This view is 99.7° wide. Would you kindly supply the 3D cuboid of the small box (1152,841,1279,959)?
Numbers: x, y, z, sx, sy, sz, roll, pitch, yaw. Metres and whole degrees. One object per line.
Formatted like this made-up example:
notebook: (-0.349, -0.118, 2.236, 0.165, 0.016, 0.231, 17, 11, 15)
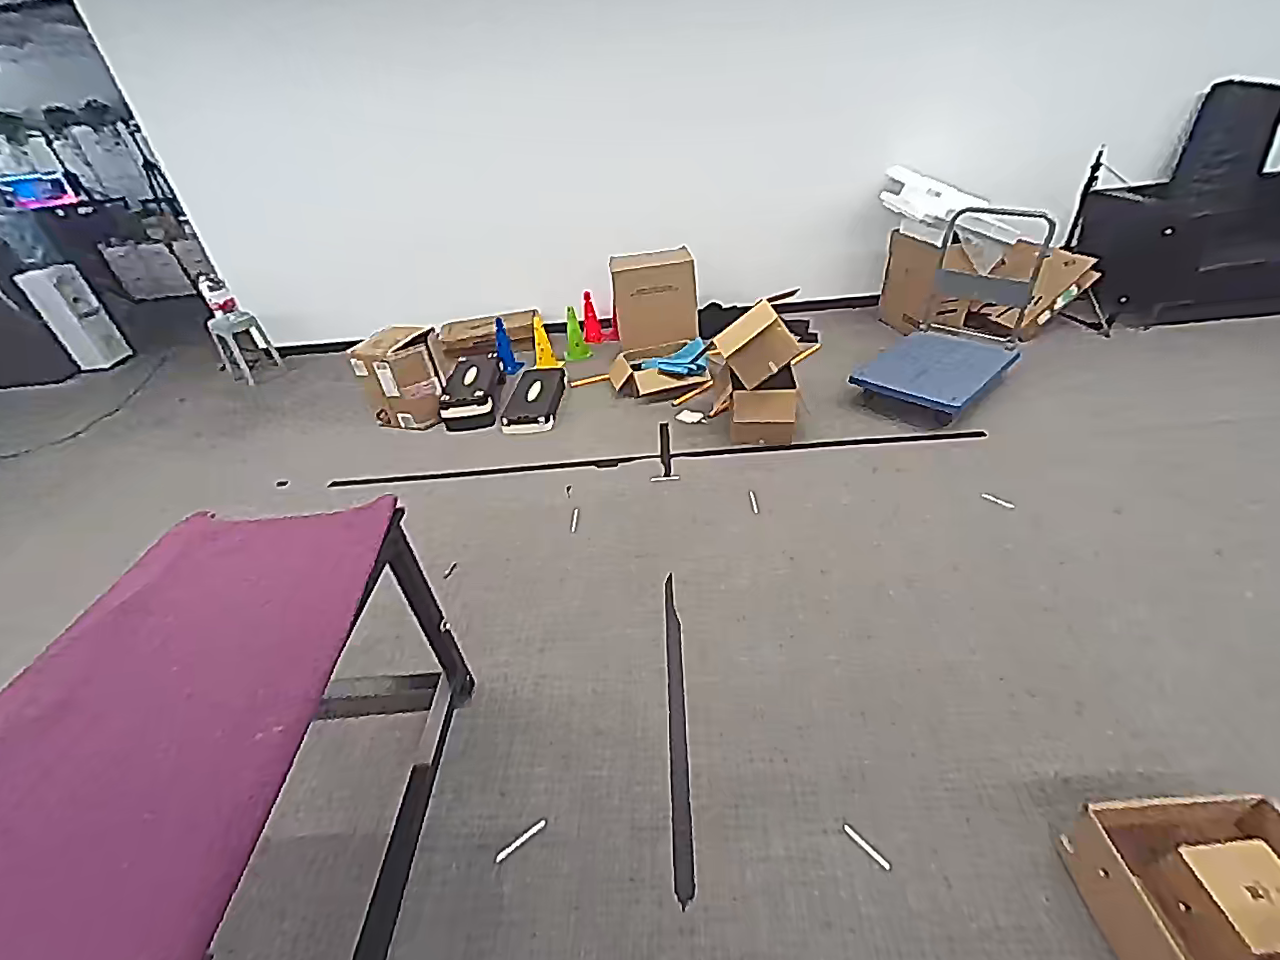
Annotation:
small box: (1.174, 0.843, 1.066, 0.179, 0.176, 0.168, -6, 38, 0)
